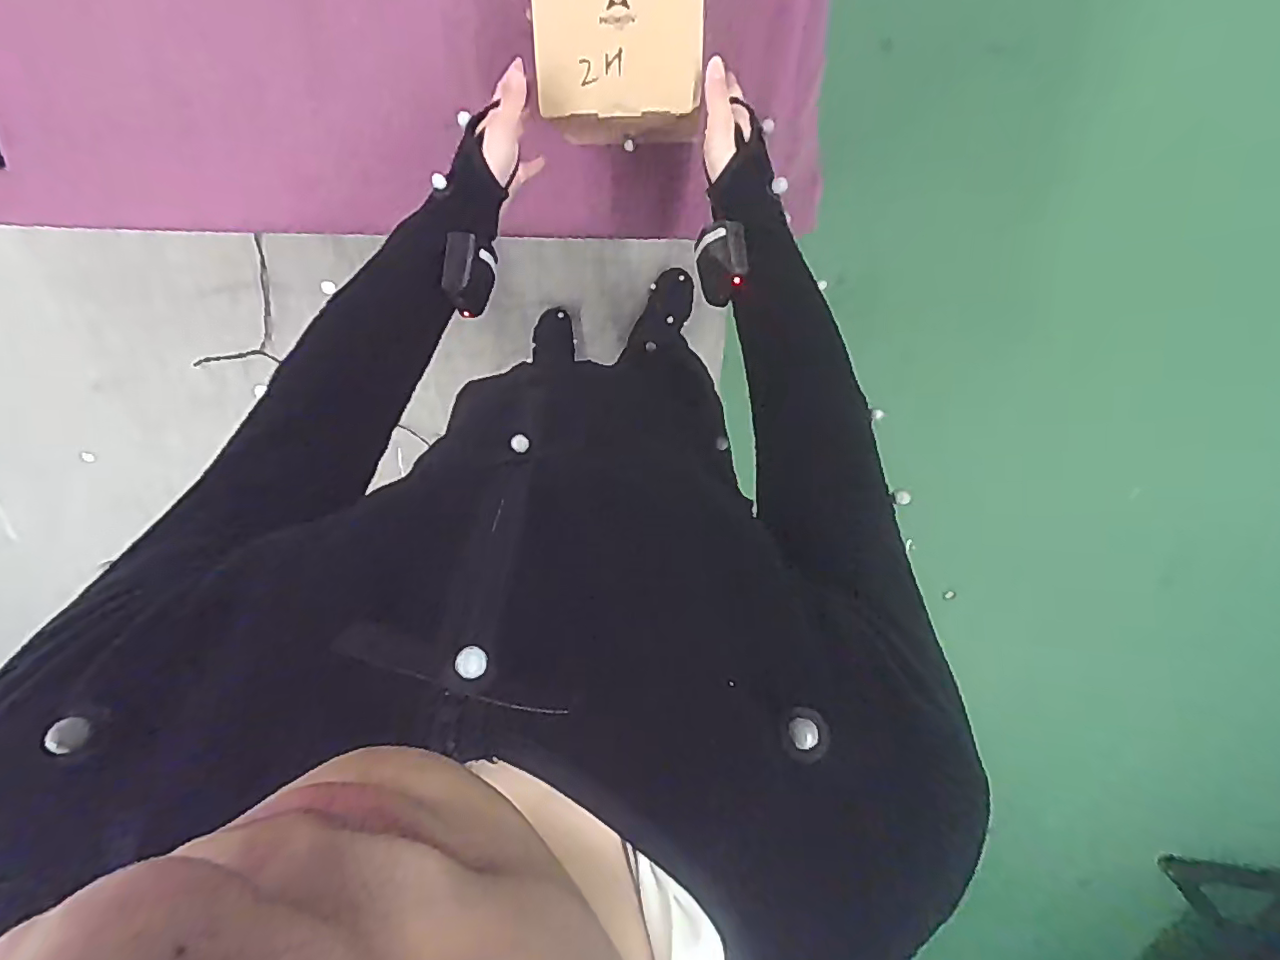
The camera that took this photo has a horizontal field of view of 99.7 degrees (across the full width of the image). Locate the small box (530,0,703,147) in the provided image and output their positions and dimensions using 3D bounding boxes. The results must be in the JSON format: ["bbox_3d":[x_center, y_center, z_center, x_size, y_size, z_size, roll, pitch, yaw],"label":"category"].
[{"bbox_3d":[-0.017,-0.476,0.582,0.168,0.176,0.179,2,114,5],"label":"small box"}]
